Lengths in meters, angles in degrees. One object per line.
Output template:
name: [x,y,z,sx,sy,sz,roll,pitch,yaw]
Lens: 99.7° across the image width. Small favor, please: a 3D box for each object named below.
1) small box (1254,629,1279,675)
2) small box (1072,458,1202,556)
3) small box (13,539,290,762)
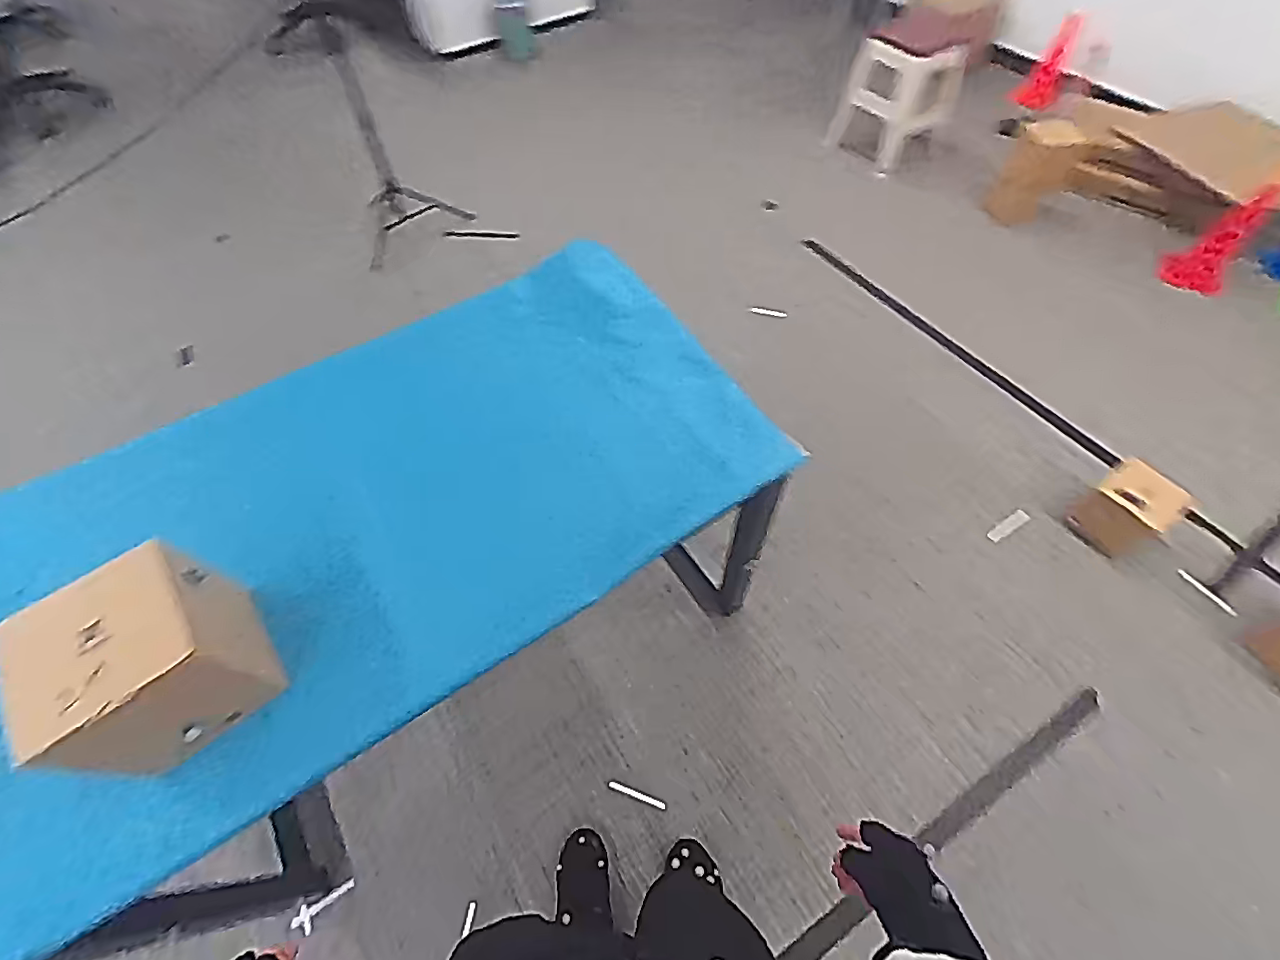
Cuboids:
small box: [1.637,0.415,1.266,0.168,0.176,0.179,-15,61,-7]
small box: [1.342,0.080,1.479,0.179,0.176,0.168,-30,62,-16]
small box: [-0.561,0.207,0.639,0.168,0.176,0.179,-32,65,-15]
